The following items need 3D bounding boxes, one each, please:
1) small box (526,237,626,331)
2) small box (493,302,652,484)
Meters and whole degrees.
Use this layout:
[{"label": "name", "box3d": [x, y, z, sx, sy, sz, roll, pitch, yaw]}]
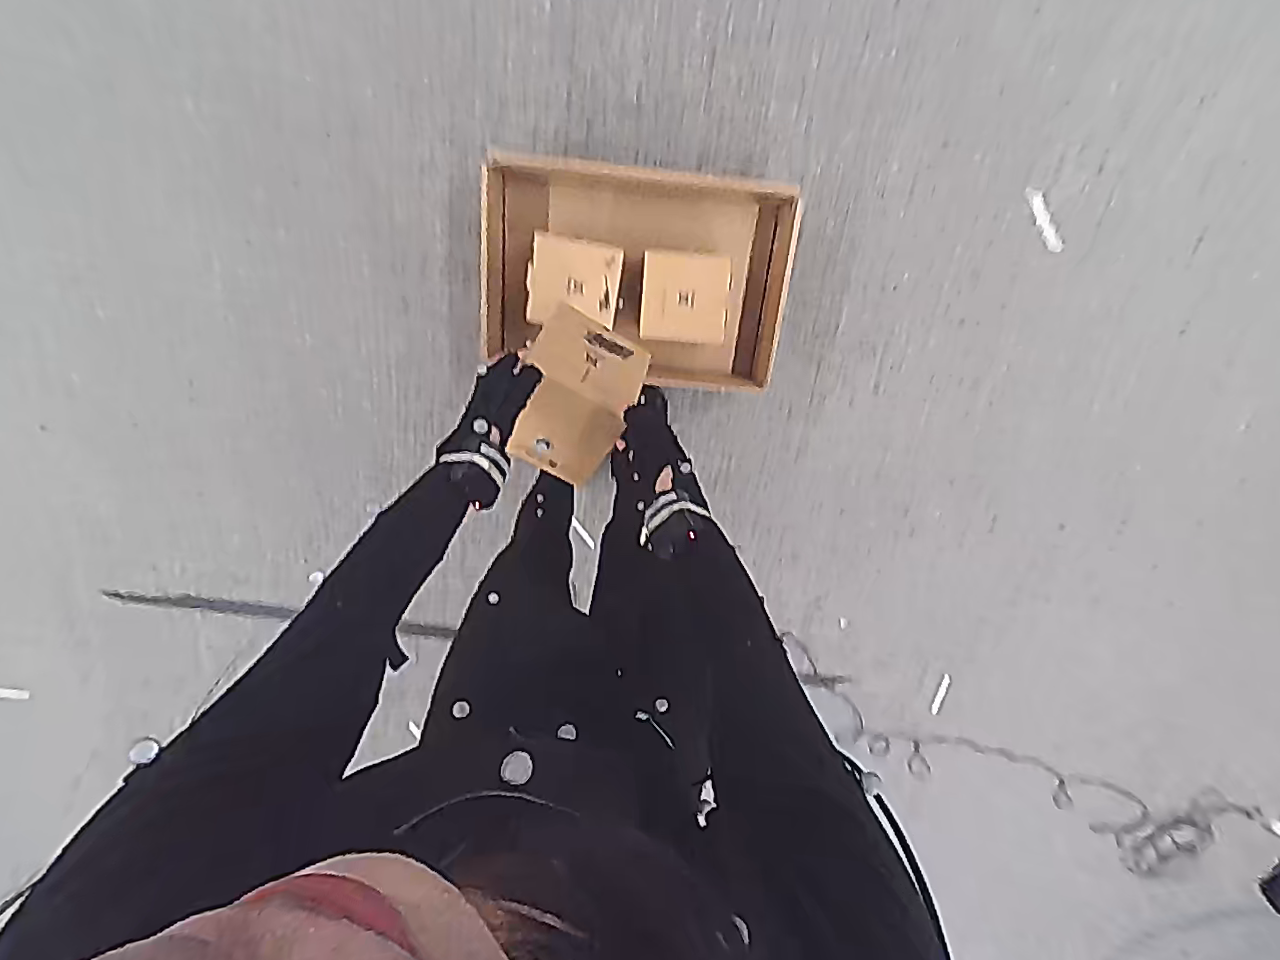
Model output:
[{"label": "small box", "box3d": [-0.130, -0.403, 1.143, 0.179, 0.176, 0.168, 10, 110, -4]}, {"label": "small box", "box3d": [-0.104, -0.128, 0.825, 0.168, 0.179, 0.176, 29, 135, -13]}]
